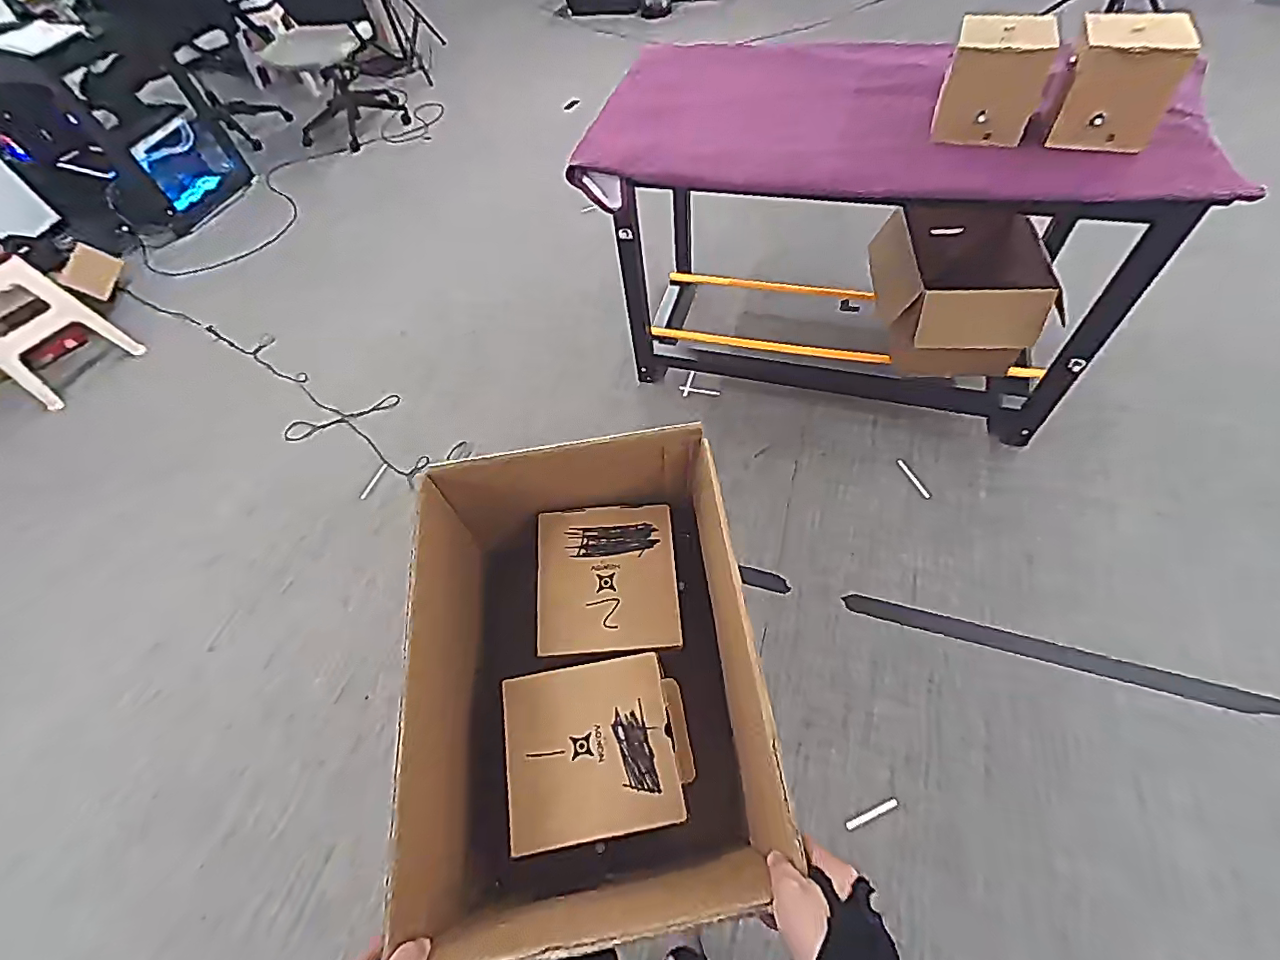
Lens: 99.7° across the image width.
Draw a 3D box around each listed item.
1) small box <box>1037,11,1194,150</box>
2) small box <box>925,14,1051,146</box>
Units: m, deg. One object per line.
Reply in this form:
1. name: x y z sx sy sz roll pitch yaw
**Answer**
1. small box: 0.894 -0.767 1.039 0.168 0.176 0.179 14 58 17
2. small box: 0.694 -0.807 1.093 0.168 0.176 0.179 14 58 17
